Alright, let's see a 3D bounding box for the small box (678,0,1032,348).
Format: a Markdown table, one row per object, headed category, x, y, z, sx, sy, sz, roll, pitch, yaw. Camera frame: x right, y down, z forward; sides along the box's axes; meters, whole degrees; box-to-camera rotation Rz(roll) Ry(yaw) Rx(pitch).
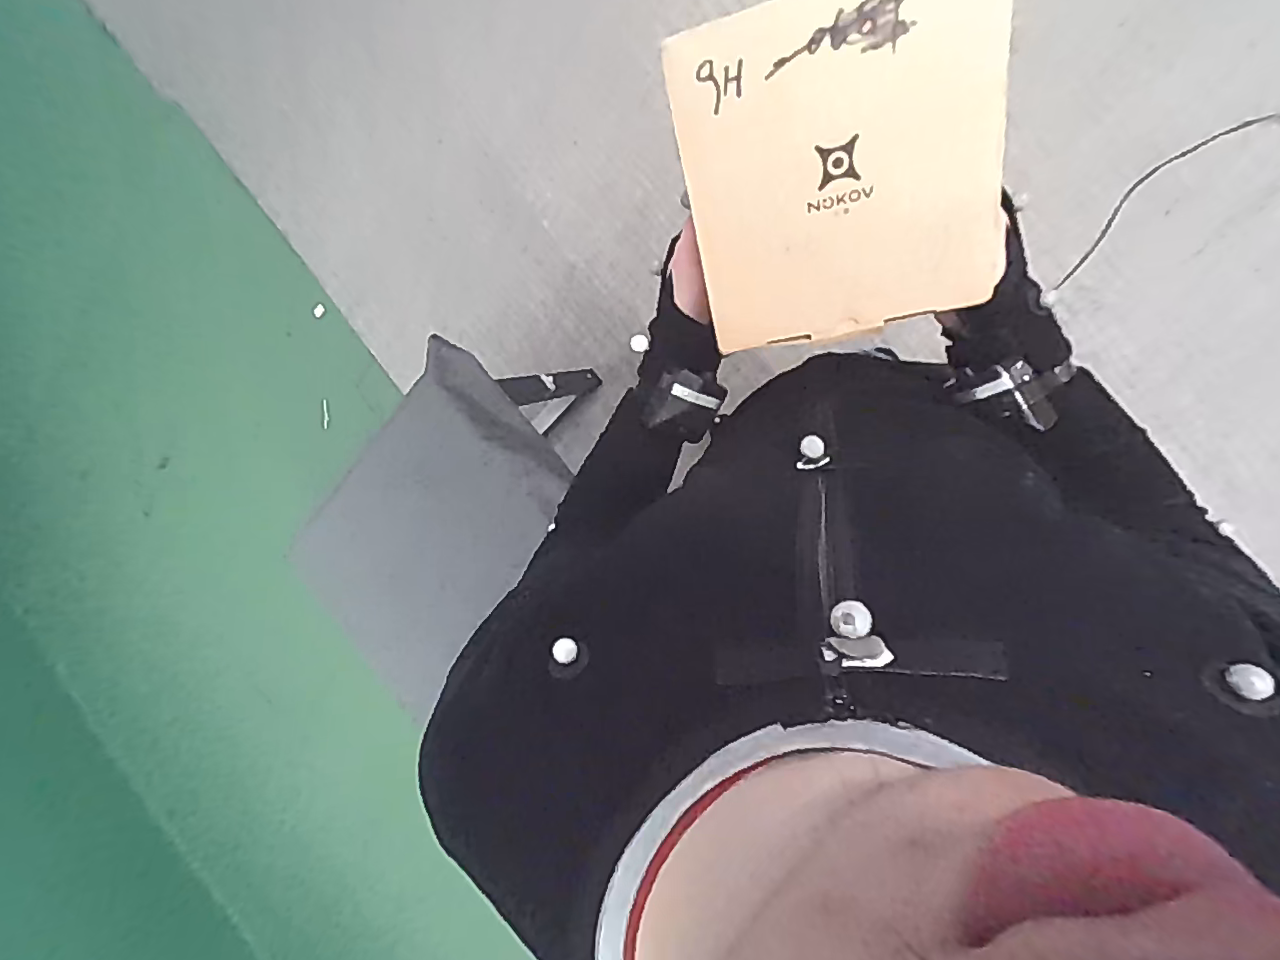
| category | x | y | z | sx | sy | sz | roll | pitch | yaw |
| --- | --- | --- | --- | --- | --- | --- | --- | --- | --- |
| small box | 0.129 | -0.214 | 0.366 | 0.168 | 0.176 | 0.179 | -8 | 123 | 15 |
